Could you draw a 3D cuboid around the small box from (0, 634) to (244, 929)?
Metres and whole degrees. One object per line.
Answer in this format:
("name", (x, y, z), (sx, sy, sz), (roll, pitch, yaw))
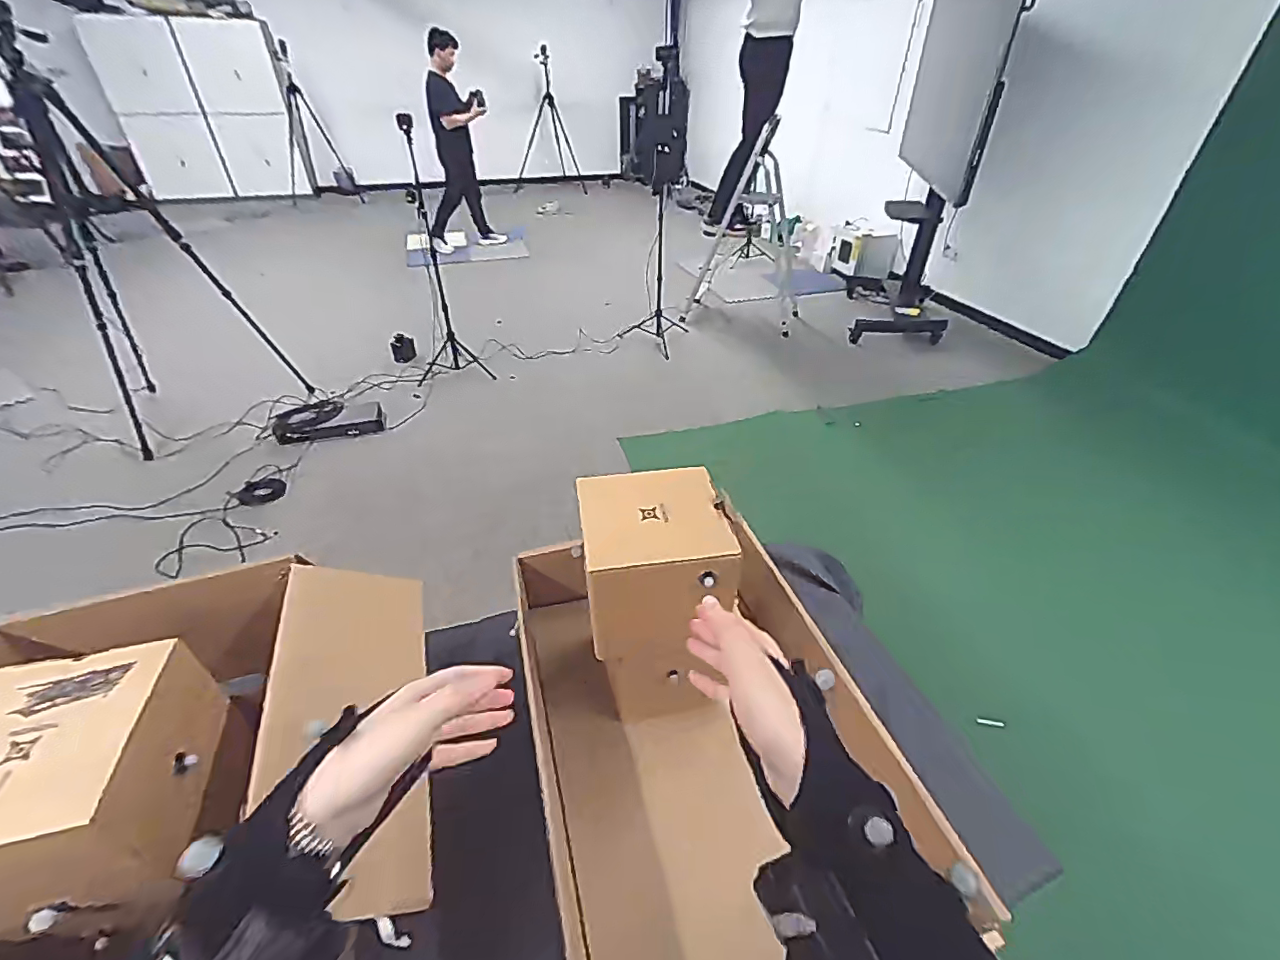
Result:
("small box", (-0.515, 0.279, 0.512), (0.168, 0.176, 0.179), (-8, 41, -12))

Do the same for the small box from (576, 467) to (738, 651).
("small box", (0.014, 0.104, 0.706), (0.179, 0.176, 0.168), (-5, 40, -8))
